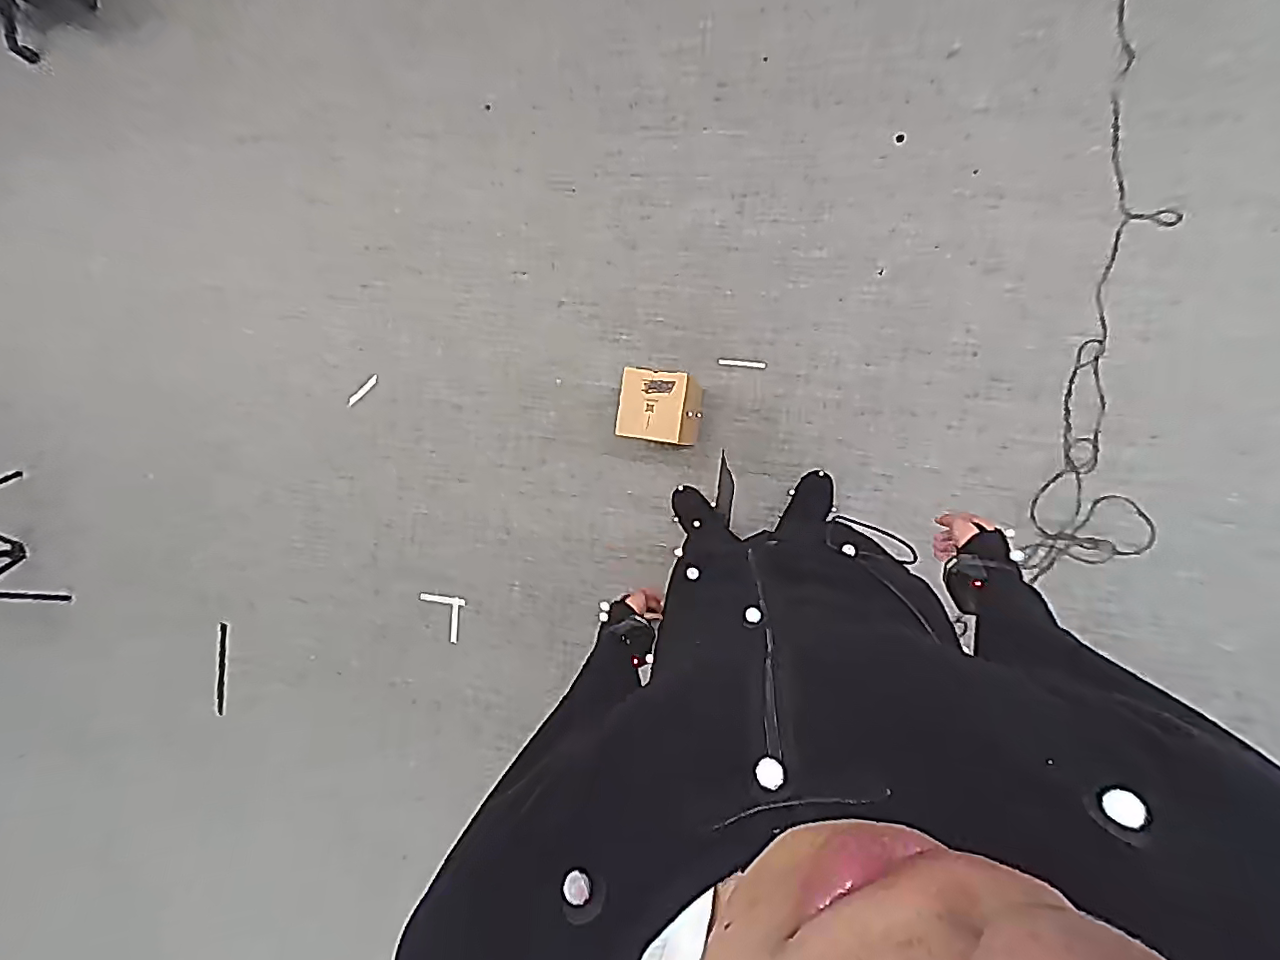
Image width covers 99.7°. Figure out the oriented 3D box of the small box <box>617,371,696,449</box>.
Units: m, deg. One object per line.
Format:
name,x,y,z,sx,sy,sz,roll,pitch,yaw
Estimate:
small box,0.049,-0.180,1.425,0.168,0.176,0.179,9,95,13
